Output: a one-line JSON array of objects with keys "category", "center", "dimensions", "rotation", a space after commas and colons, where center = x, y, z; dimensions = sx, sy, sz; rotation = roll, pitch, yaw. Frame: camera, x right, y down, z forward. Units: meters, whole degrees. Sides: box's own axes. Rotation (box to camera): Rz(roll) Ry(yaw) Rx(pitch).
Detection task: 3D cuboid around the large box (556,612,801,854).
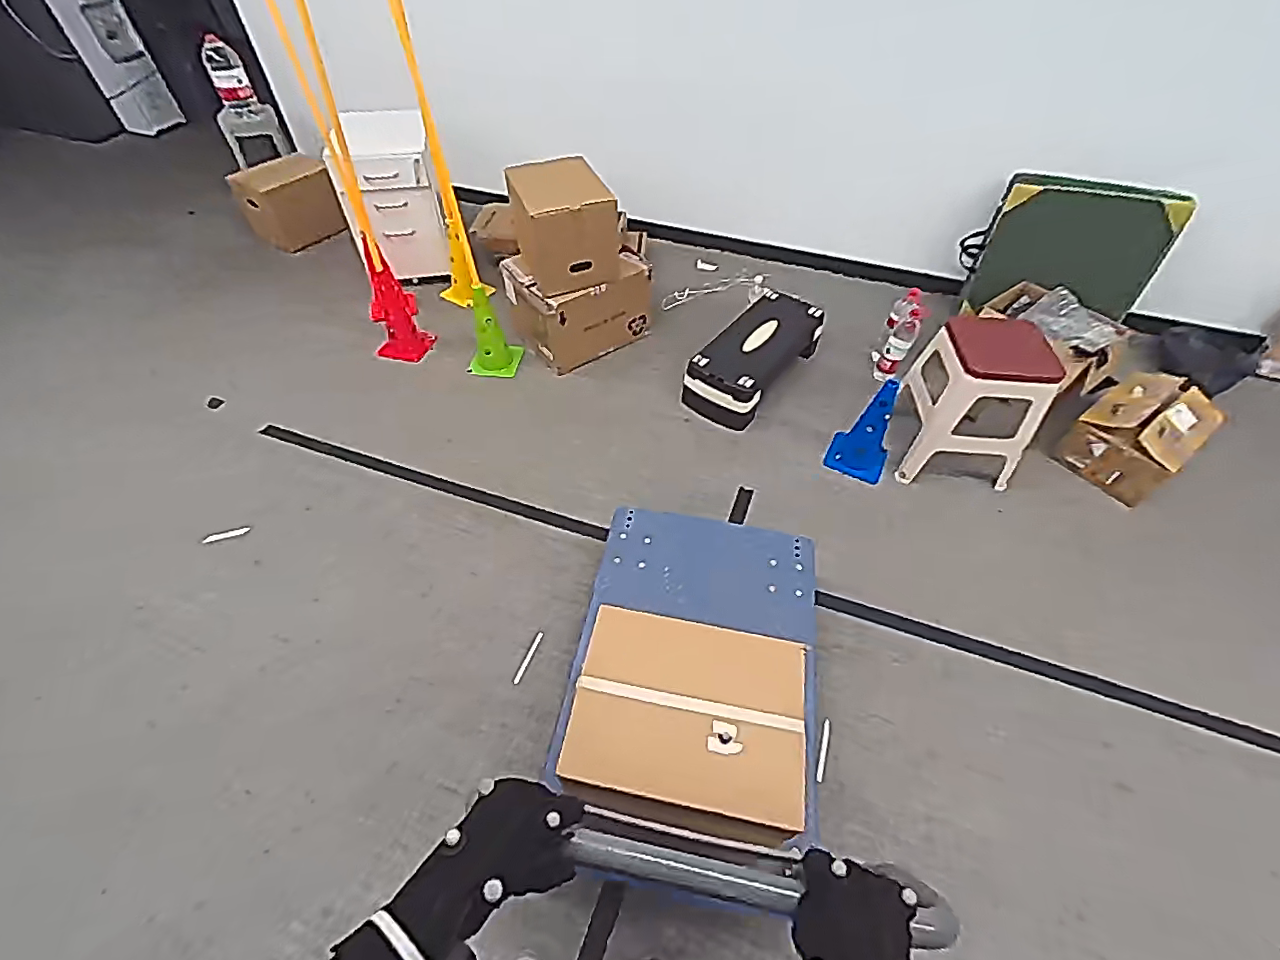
[{"category": "large box", "center": [0.076, 0.498, 1.065], "dimensions": [0.408, 0.320, 0.320], "rotation": [10, 52, 6]}]
